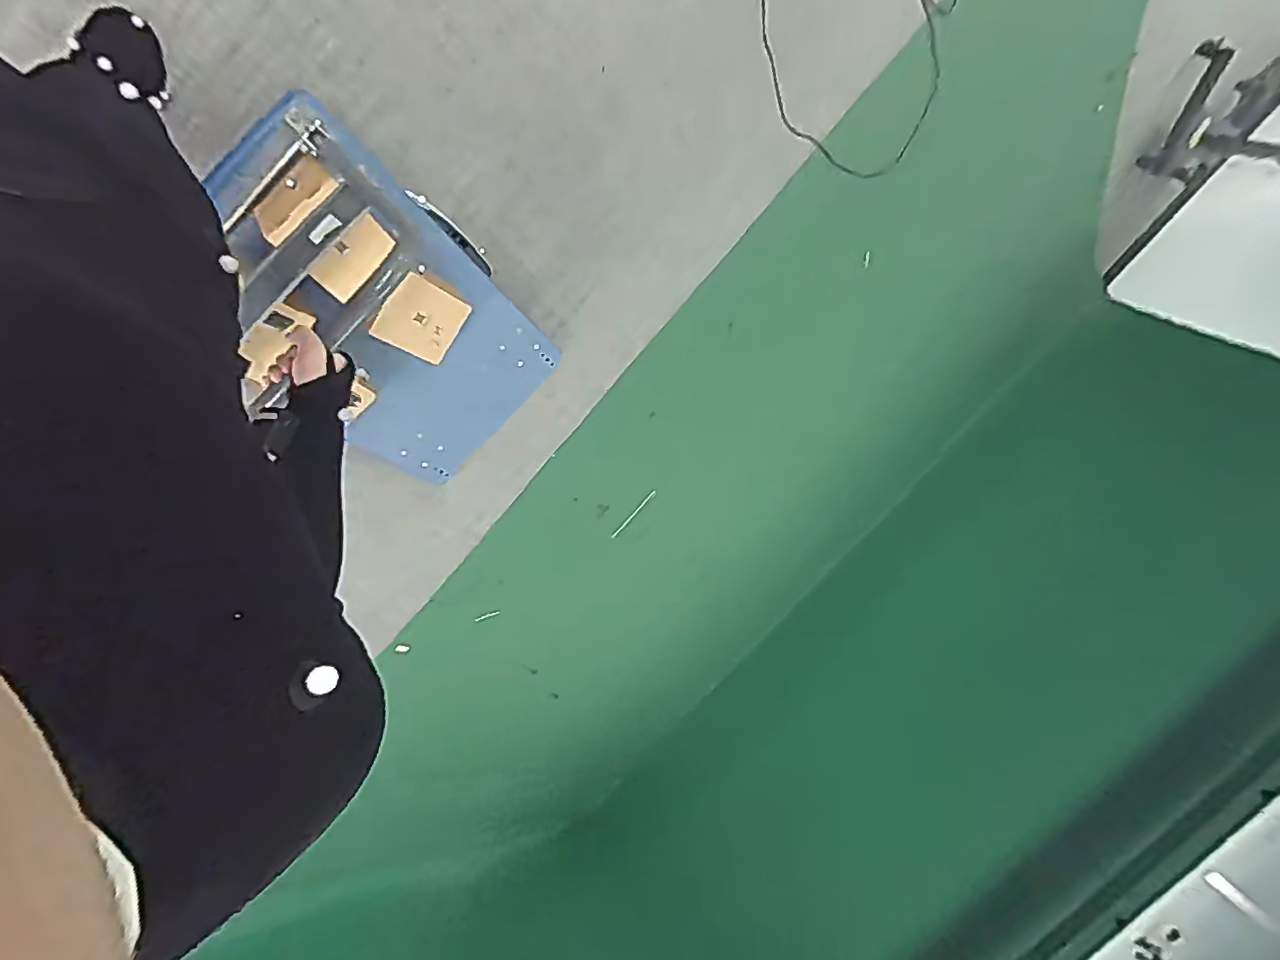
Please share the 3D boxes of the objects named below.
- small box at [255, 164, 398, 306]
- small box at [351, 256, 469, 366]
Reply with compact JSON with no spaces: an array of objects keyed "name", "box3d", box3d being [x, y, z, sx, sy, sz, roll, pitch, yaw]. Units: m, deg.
[{"name":"small box","box3d":[-0.629,-0.494,1.085,0.168,0.176,0.179,-43,143,0]},{"name":"small box","box3d":[-0.538,-0.399,1.255,0.168,0.176,0.179,-52,142,12]}]
